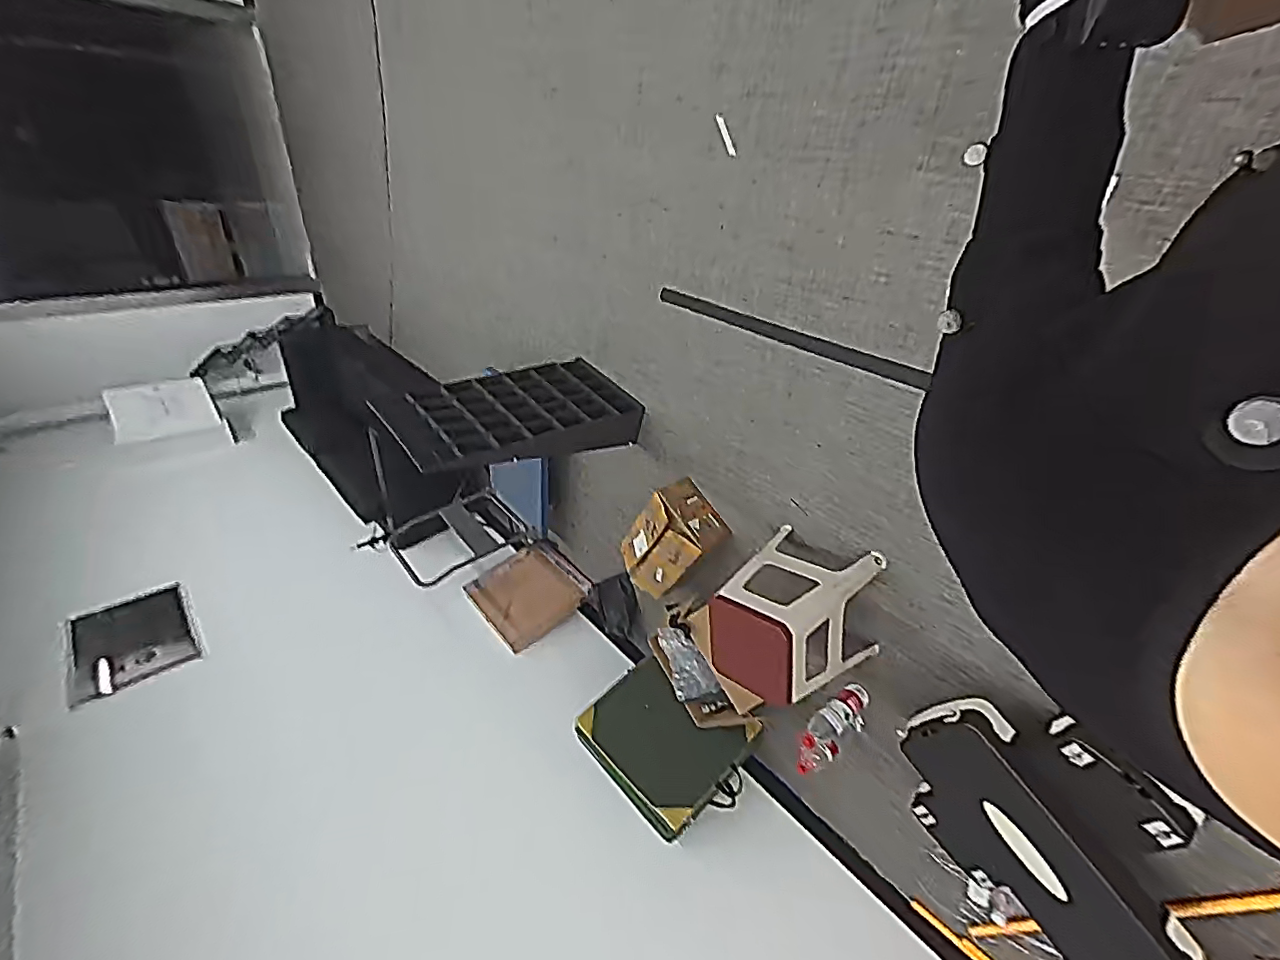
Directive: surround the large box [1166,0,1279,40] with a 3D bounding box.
[{"bbox_3d":[0.539,-0.485,0.245,0.408,0.320,0.320,14,121,46],"label":"large box"}]
